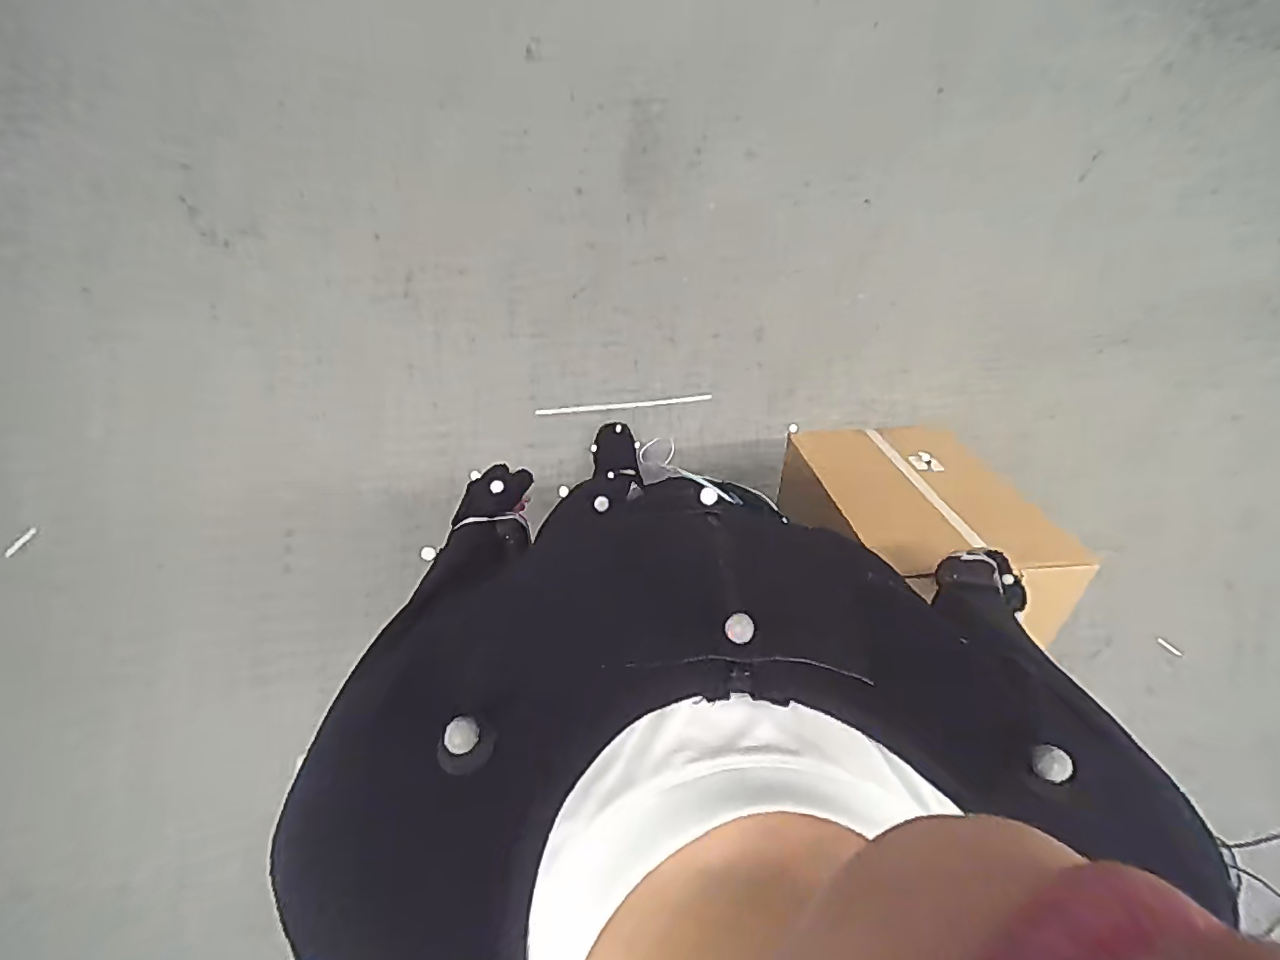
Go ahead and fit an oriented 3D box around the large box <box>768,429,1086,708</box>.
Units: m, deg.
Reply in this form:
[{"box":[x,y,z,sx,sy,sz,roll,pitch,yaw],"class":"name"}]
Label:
[{"box":[0.457,0.140,0.988,0.320,0.408,0.320,-2,123,-6],"class":"large box"}]
